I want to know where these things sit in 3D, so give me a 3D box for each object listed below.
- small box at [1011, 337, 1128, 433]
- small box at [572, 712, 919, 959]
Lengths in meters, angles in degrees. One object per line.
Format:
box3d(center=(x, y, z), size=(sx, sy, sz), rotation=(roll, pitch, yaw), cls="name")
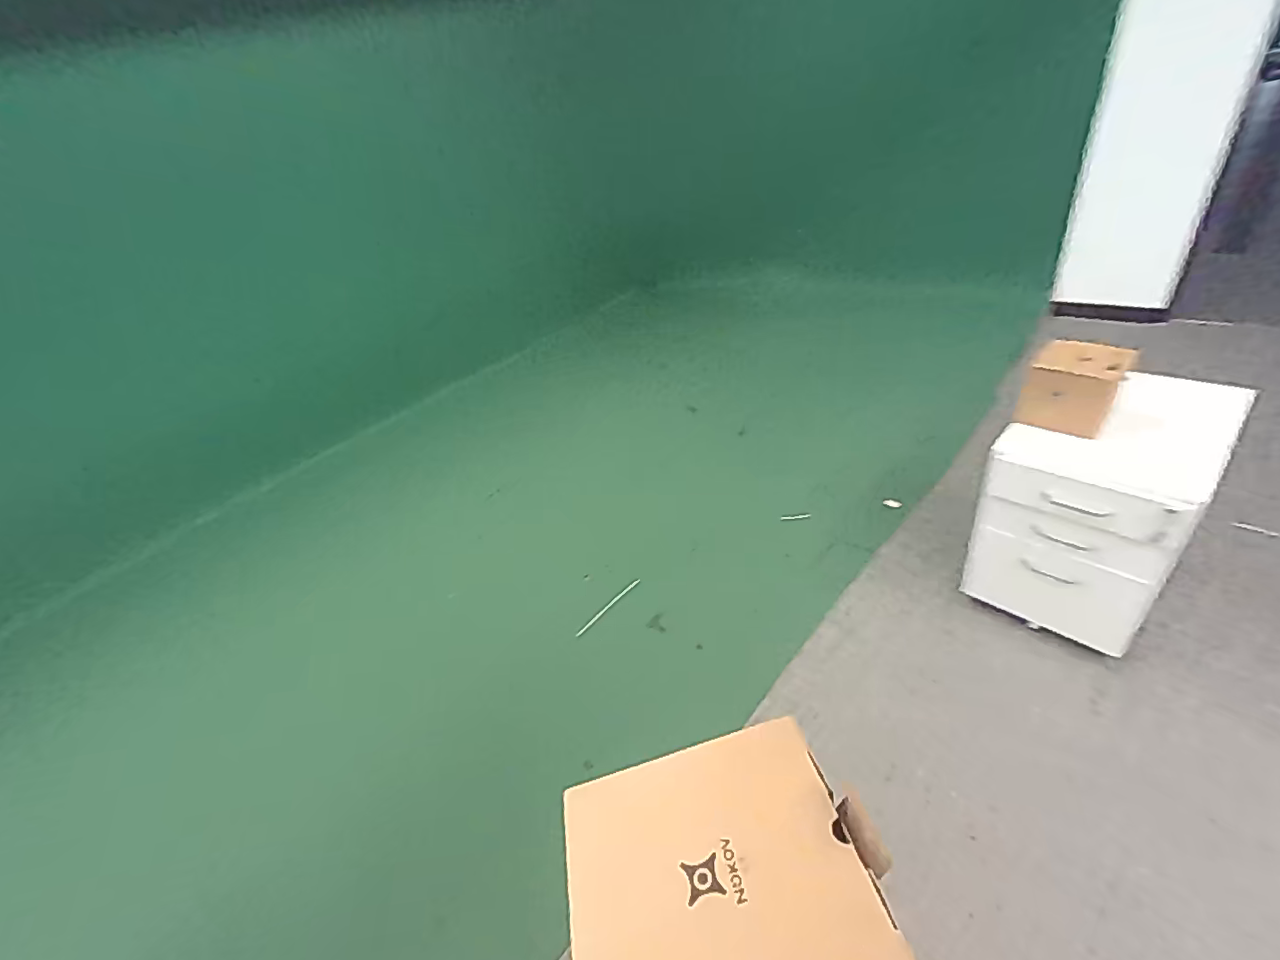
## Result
box3d(center=(1.072, -0.239, 1.362), size=(0.168, 0.176, 0.179), rotation=(-38, 43, -28), cls="small box")
box3d(center=(0.066, 0.297, 0.358), size=(0.179, 0.176, 0.168), rotation=(-17, 29, -1), cls="small box")
